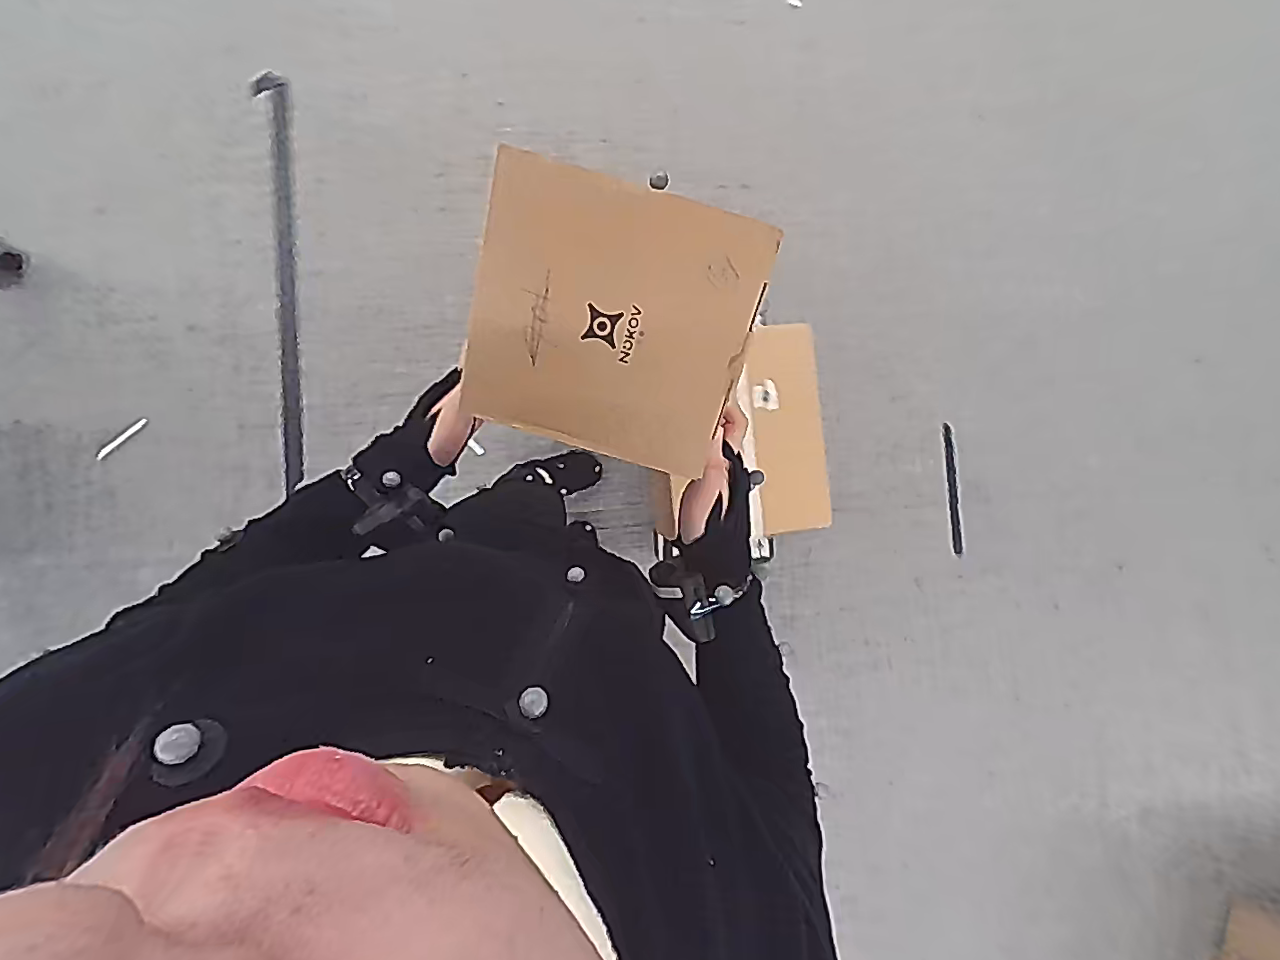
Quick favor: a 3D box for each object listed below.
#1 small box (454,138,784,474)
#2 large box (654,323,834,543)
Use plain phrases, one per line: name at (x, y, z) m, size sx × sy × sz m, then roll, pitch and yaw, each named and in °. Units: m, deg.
small box at (-0.015, -0.127, 0.408) m, size 0.179 × 0.176 × 0.168 m, roll 16°, pitch 111°, yaw -1°
large box at (0.191, -0.088, 1.181) m, size 0.320 × 0.320 × 0.408 m, roll -6°, pitch 89°, yaw -6°
